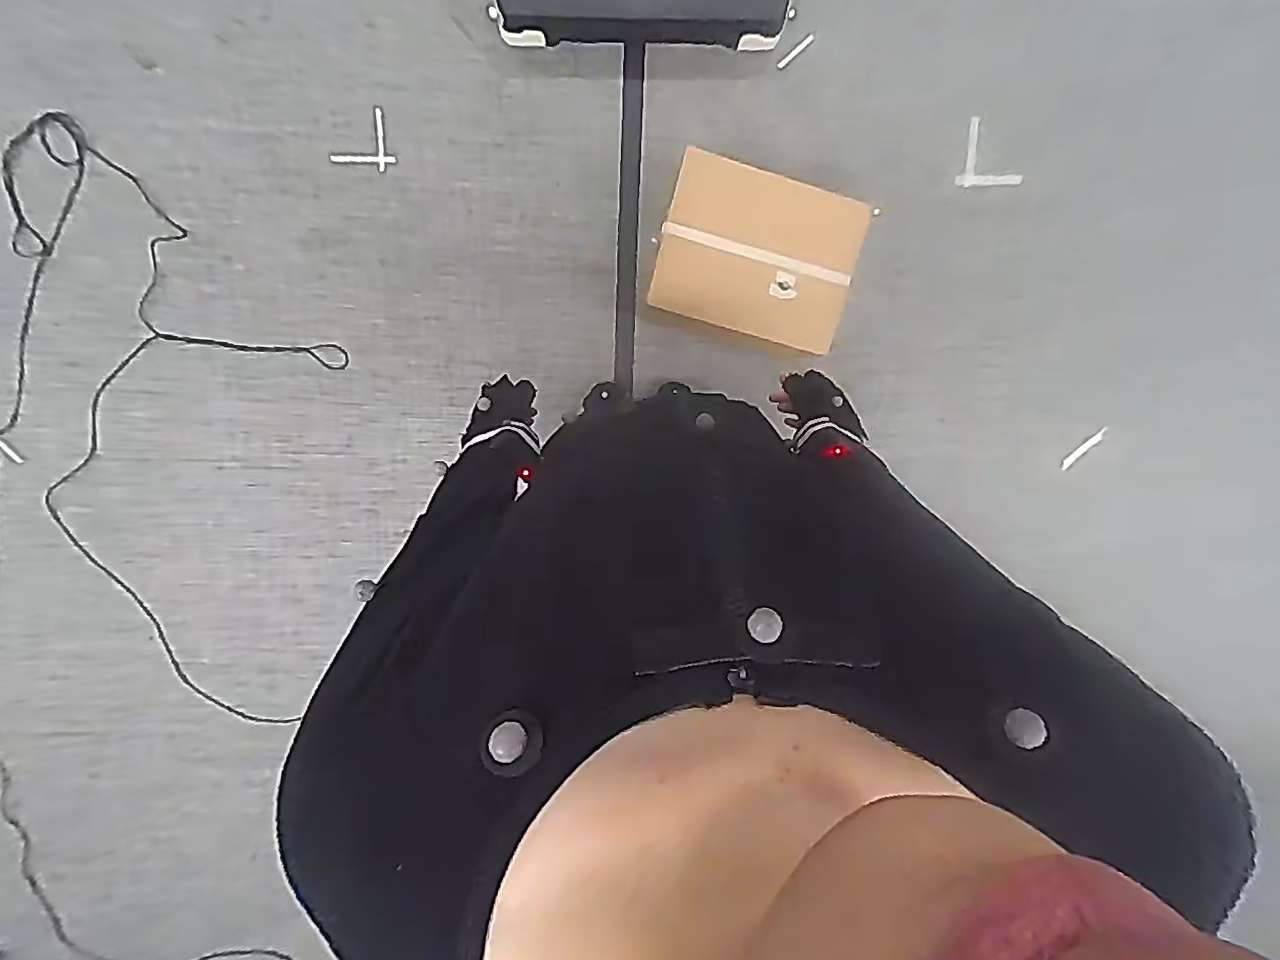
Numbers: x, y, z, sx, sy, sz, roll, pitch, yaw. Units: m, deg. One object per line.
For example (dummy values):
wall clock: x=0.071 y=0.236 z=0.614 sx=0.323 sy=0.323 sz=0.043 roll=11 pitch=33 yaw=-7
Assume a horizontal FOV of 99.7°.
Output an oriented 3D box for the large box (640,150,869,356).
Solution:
large box: x=0.234 y=-0.494 z=1.263 sx=0.408 sy=0.320 sz=0.320 roll=14 pitch=100 yaw=-6
